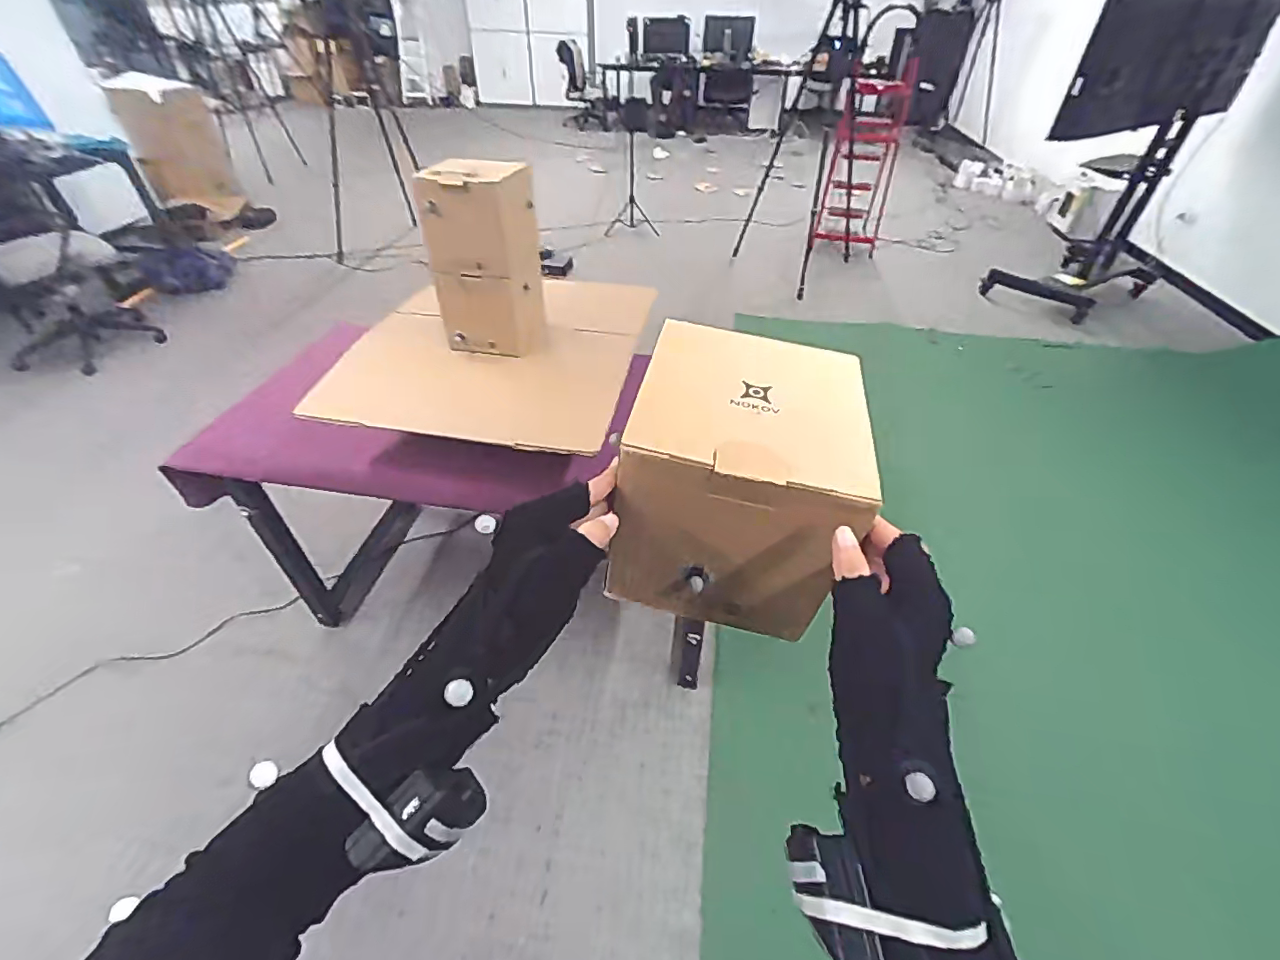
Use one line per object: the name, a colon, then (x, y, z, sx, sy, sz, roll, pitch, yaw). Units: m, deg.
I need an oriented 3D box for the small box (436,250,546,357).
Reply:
small box: (-0.310, -0.383, 1.172, 0.168, 0.176, 0.179, 8, 41, 8)

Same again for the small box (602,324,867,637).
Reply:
small box: (0.068, -0.001, 0.453, 0.168, 0.176, 0.179, 13, 45, 4)
